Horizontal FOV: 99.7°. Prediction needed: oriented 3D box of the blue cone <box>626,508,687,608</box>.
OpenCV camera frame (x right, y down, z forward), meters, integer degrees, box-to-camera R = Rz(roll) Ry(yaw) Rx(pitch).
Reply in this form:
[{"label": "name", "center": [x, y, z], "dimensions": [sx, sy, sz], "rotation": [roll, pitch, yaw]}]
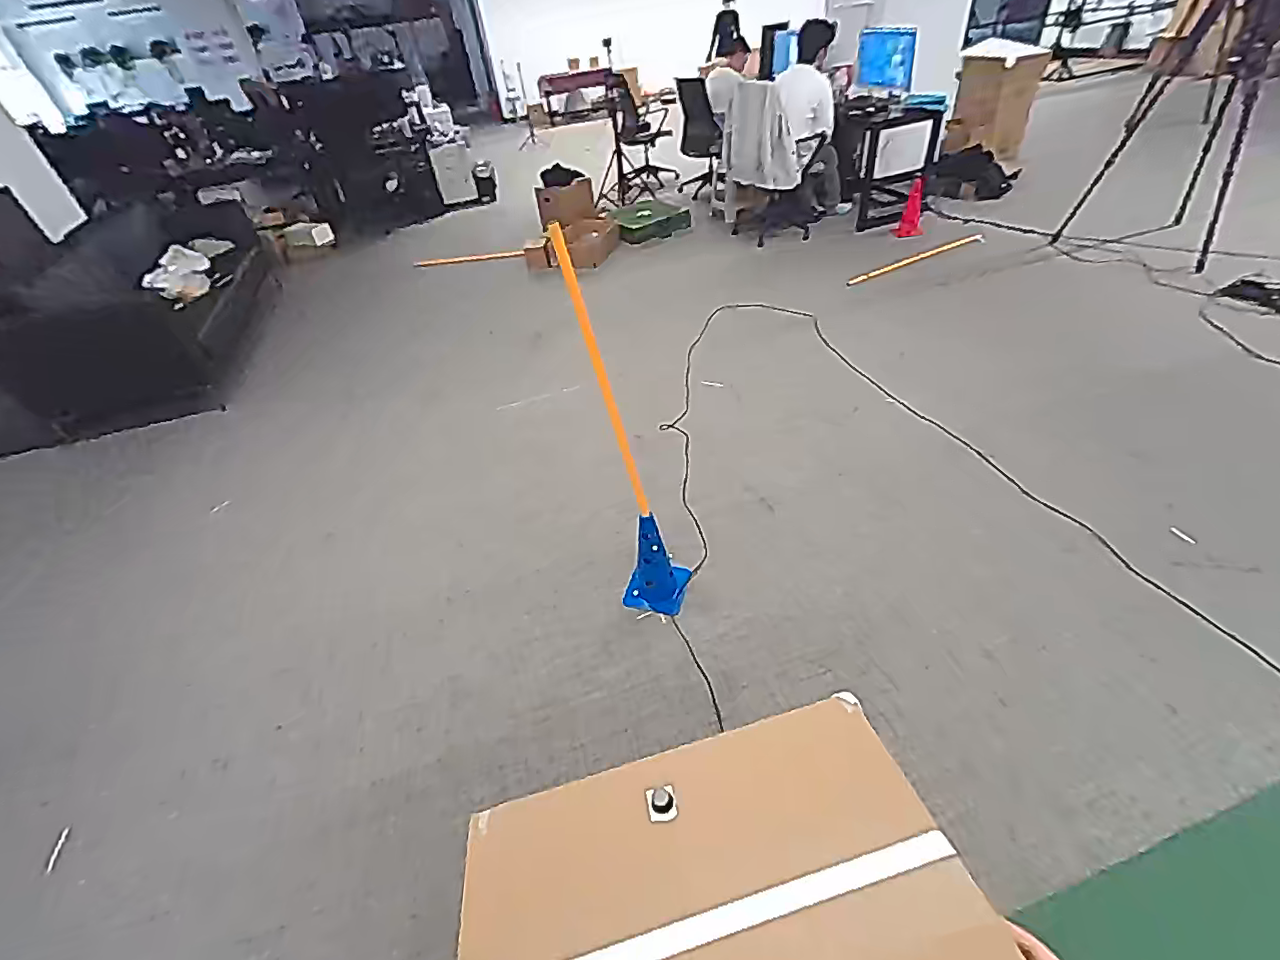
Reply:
[{"label": "blue cone", "center": [0.038, 0.234, 1.742], "dimensions": [0.192, 0.380, 0.193], "rotation": [5, 44, 16]}]
